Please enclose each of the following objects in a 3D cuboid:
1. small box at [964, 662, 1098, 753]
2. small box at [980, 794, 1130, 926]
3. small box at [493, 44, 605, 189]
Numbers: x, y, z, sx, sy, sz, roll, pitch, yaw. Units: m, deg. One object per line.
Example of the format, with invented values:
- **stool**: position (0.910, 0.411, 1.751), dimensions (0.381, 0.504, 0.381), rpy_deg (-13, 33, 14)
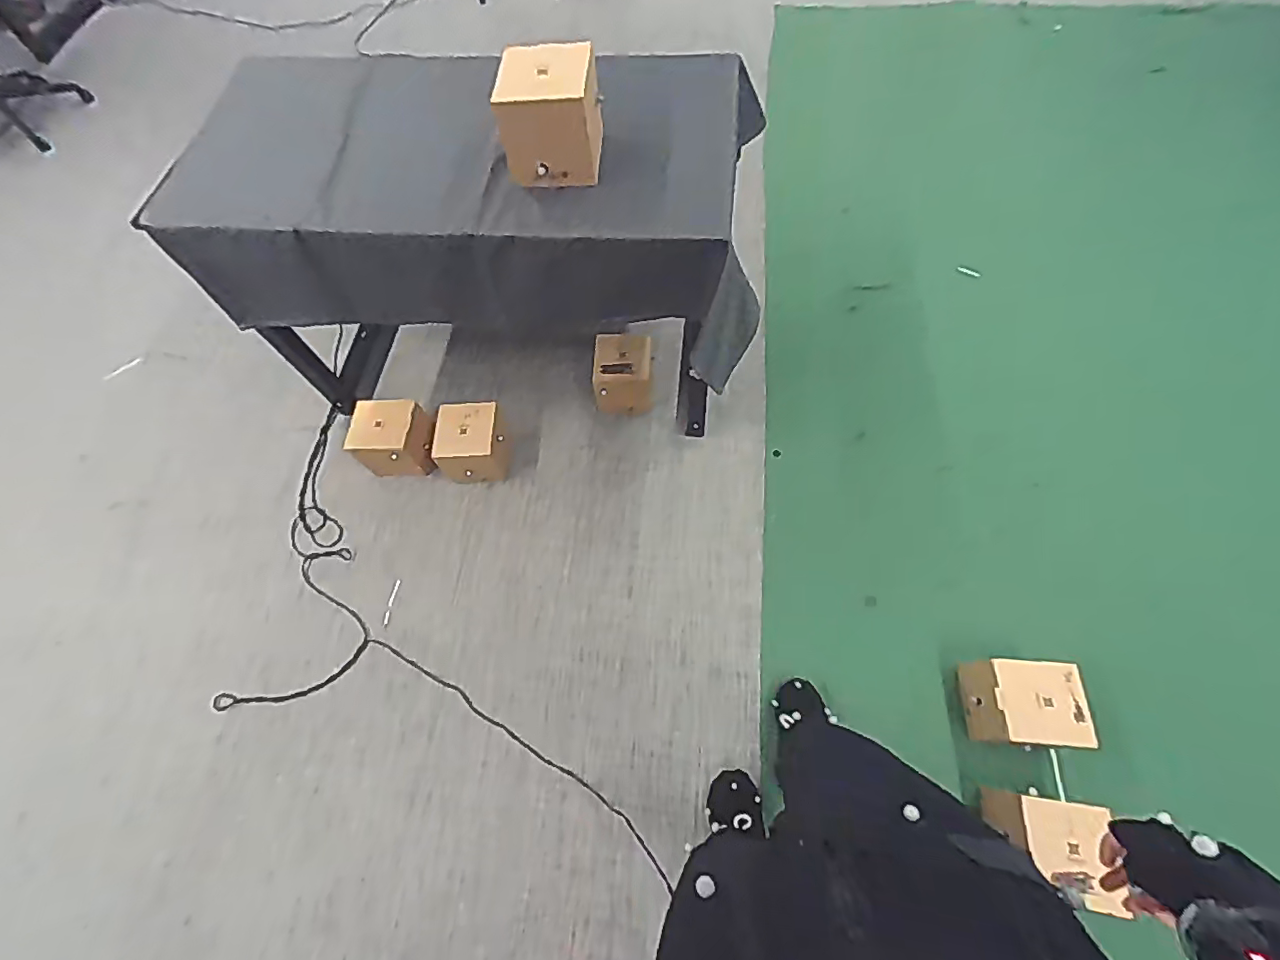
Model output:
- **small box**: position (0.845, 0.507, 1.197), dimensions (0.179, 0.176, 0.168), rpy_deg (3, 64, 6)
- **small box**: position (0.814, 0.746, 1.082), dimensions (0.168, 0.176, 0.179), rpy_deg (6, 64, 6)
- **small box**: position (-0.162, -0.686, 1.028), dimensions (0.168, 0.176, 0.179), rpy_deg (1, 64, 5)
